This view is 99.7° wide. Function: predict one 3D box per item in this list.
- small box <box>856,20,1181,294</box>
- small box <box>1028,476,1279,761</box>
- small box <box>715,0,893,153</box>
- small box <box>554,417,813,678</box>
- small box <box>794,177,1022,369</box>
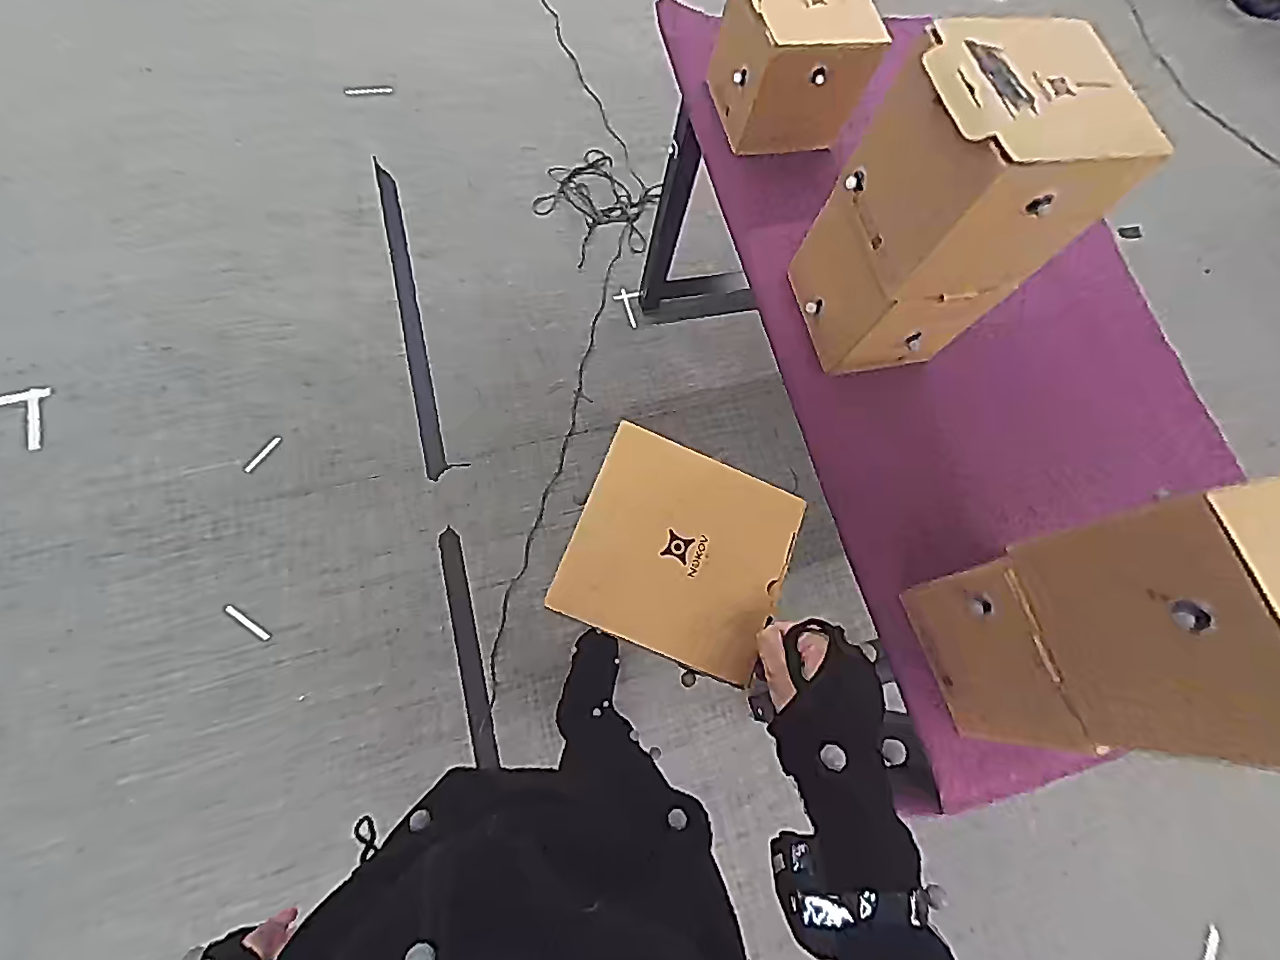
[{"bbox_3d":[0.341,-0.304,0.532,0.179,0.176,0.168,-10,73,-12],"label":"small box"},{"bbox_3d":[0.453,0.102,0.414,0.168,0.176,0.179,-10,73,-12],"label":"small box"},{"bbox_3d":[0.222,-0.611,0.792,0.179,0.176,0.168,-11,75,-13],"label":"small box"},{"bbox_3d":[0.028,0.070,0.511,0.179,0.176,0.168,23,74,-5],"label":"small box"},{"bbox_3d":[0.323,-0.257,0.689,0.168,0.176,0.179,-11,74,-12],"label":"small box"}]
